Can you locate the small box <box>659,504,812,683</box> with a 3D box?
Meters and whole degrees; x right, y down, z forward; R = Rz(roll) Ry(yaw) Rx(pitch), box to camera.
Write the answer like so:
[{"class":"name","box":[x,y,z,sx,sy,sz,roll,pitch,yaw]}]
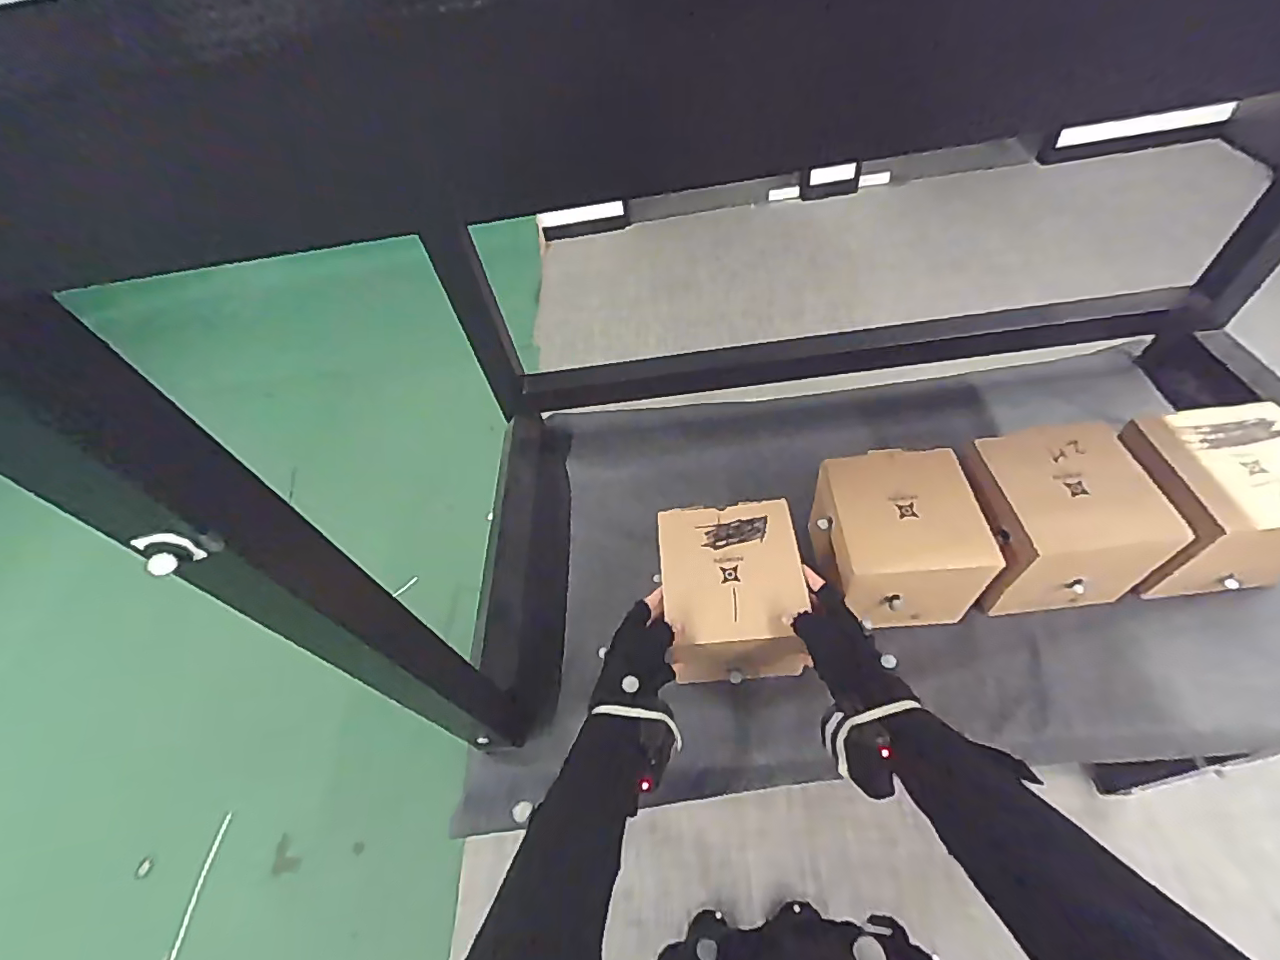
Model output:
[{"class":"small box","box":[0.115,0.153,0.712,0.168,0.176,0.179,-6,56,5]}]
